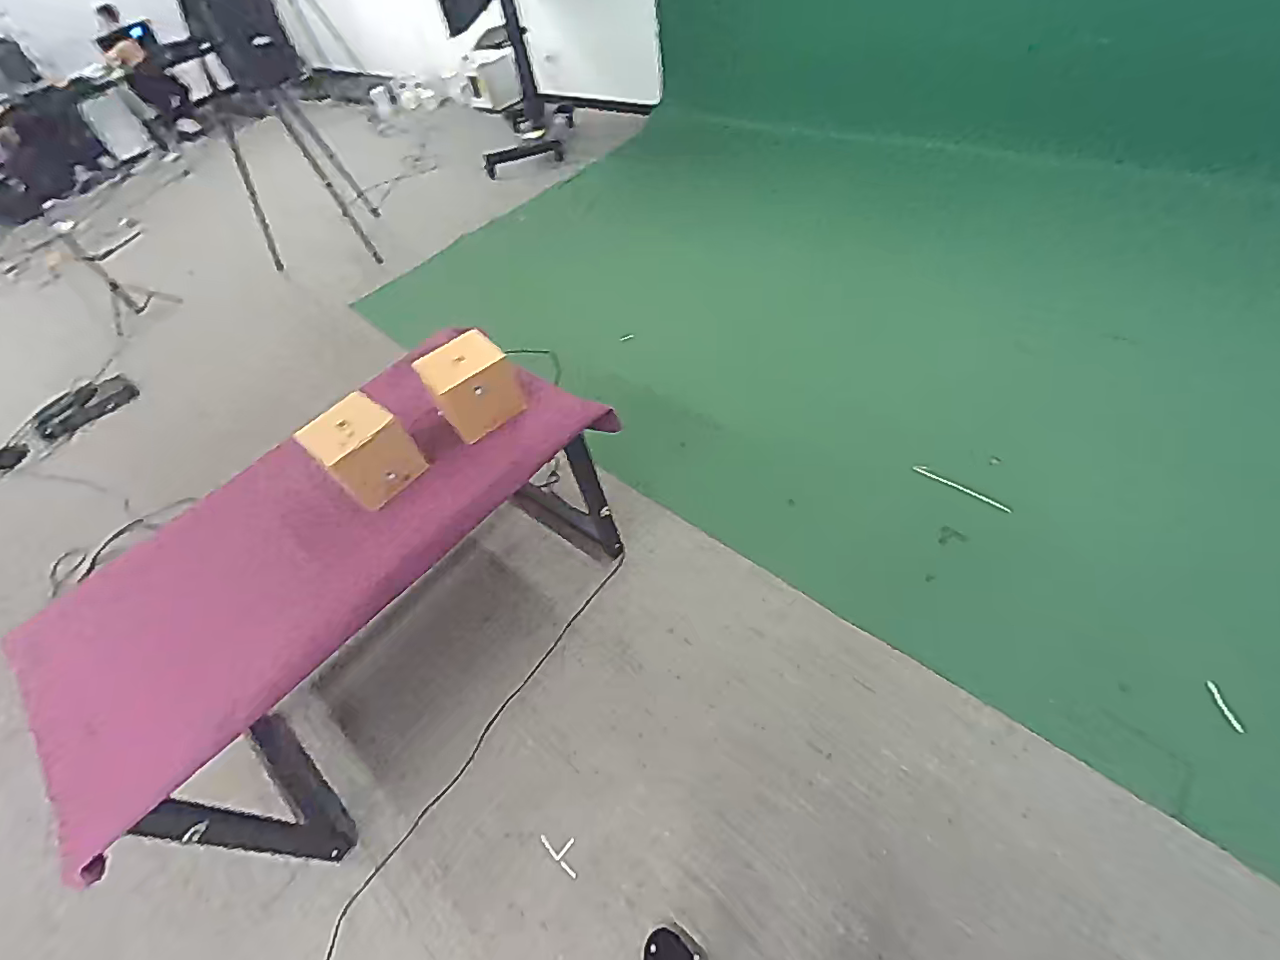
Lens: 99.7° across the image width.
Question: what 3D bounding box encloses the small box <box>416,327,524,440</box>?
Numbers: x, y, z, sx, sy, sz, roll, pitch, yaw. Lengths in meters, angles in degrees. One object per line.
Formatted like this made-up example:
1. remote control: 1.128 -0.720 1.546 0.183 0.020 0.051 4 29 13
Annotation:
1. small box: -0.402 -0.234 1.315 0.179 0.176 0.168 -37 54 -16

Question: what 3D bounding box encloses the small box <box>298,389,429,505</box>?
1. small box: -0.622 -0.072 1.231 0.179 0.176 0.168 30 64 30
